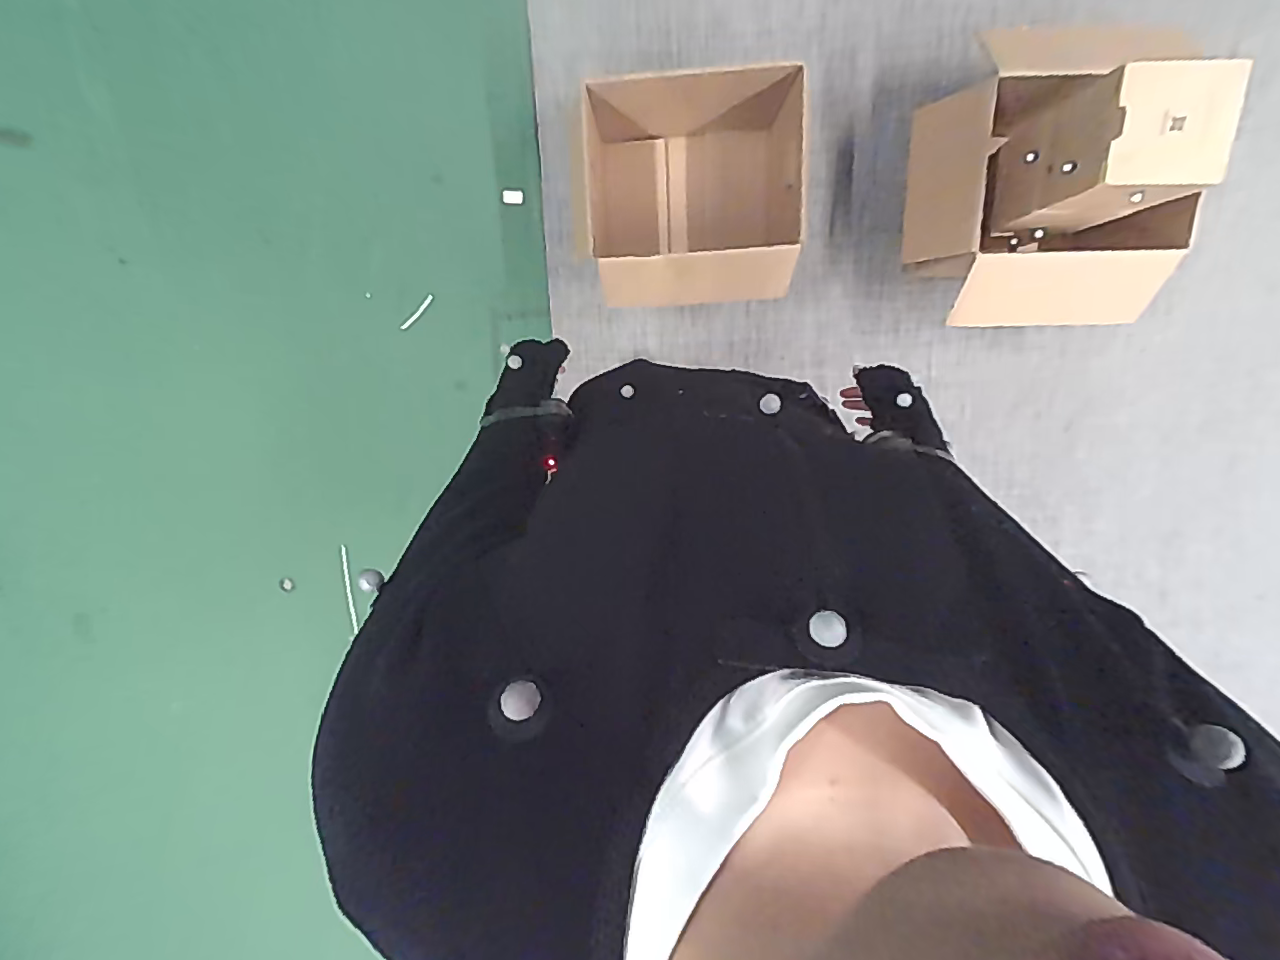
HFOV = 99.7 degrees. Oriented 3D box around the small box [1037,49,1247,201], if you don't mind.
[{"bbox_3d":[0.799,-0.566,0.884,0.179,0.176,0.168,0,105,3],"label":"small box"}]
